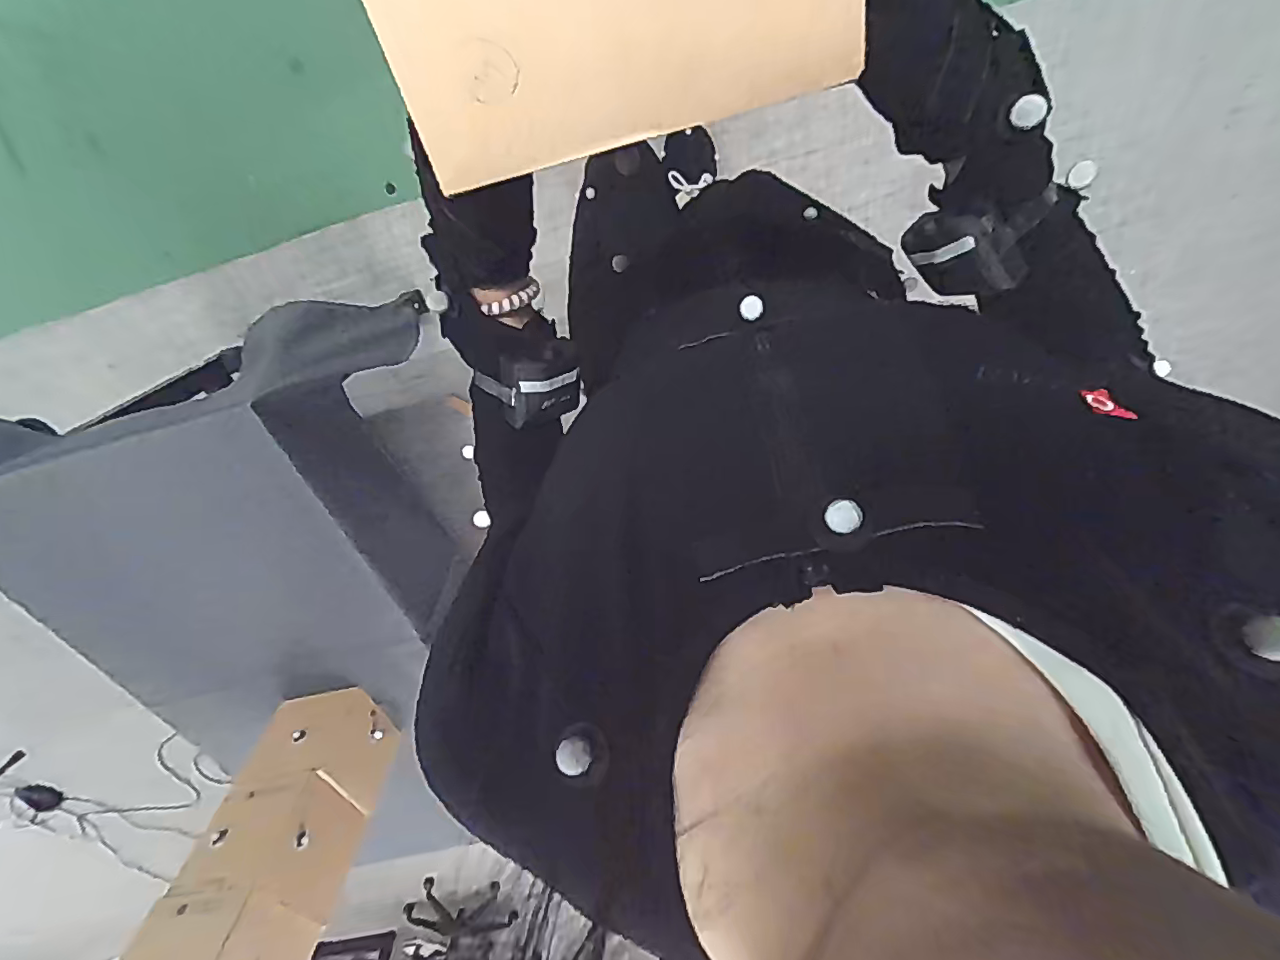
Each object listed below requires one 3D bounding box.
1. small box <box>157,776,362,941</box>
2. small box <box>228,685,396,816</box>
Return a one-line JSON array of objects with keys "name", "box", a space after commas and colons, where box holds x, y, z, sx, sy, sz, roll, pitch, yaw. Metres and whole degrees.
[{"name": "small box", "box": [-0.598, 0.604, 0.877, 0.168, 0.176, 0.179, -14, 121, 9]}, {"name": "small box", "box": [-0.598, 0.514, 1.013, 0.179, 0.176, 0.168, -13, 122, 6]}]
